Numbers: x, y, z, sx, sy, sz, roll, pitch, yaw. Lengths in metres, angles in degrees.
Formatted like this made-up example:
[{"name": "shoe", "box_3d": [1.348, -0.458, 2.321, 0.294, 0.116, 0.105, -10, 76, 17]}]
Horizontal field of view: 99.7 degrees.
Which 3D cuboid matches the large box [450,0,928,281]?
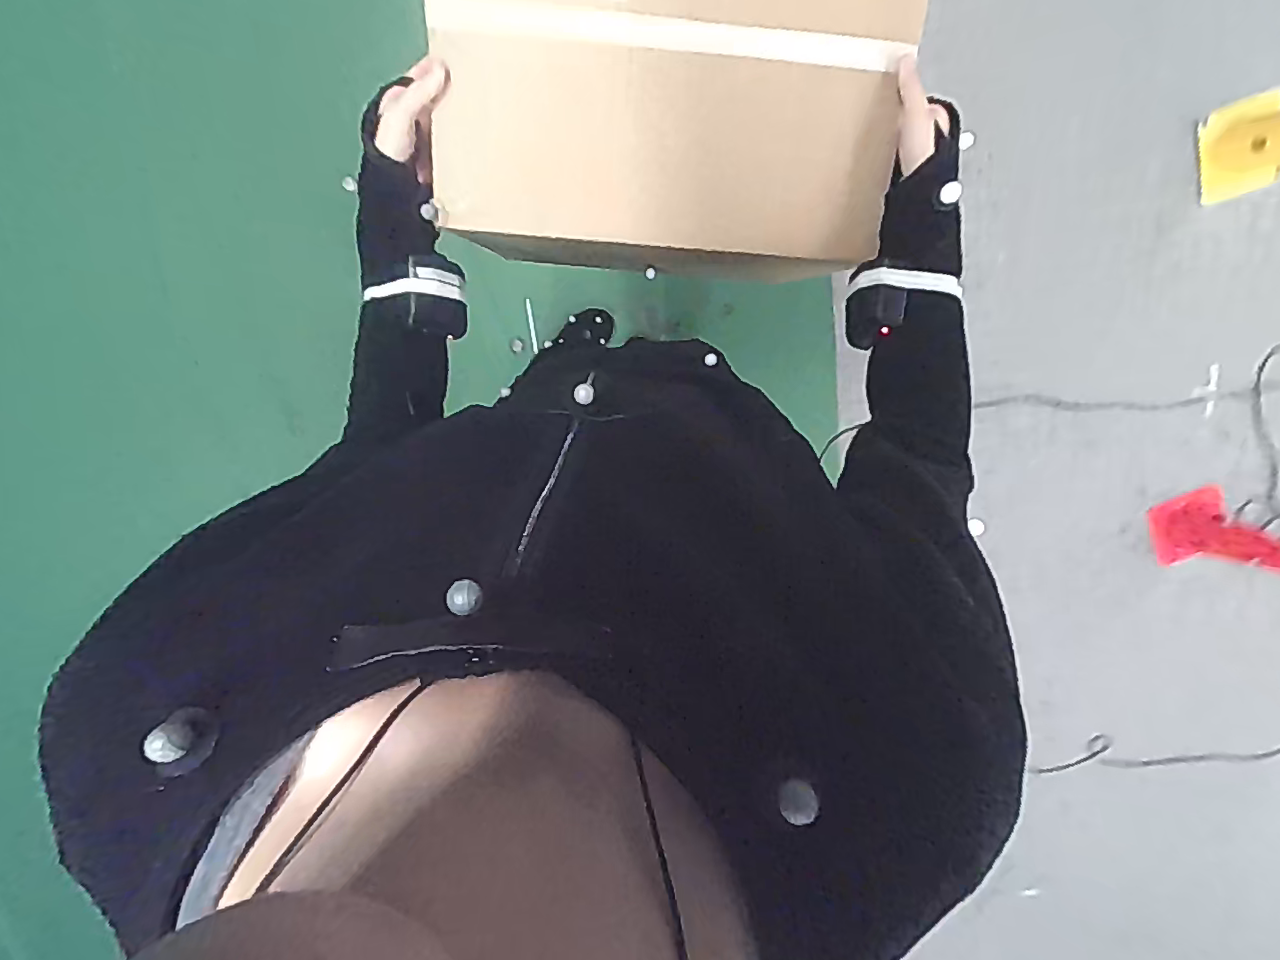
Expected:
[{"name": "large box", "box_3d": [0.037, -0.403, 0.601, 0.408, 0.320, 0.320, 5, 106, -3]}]
